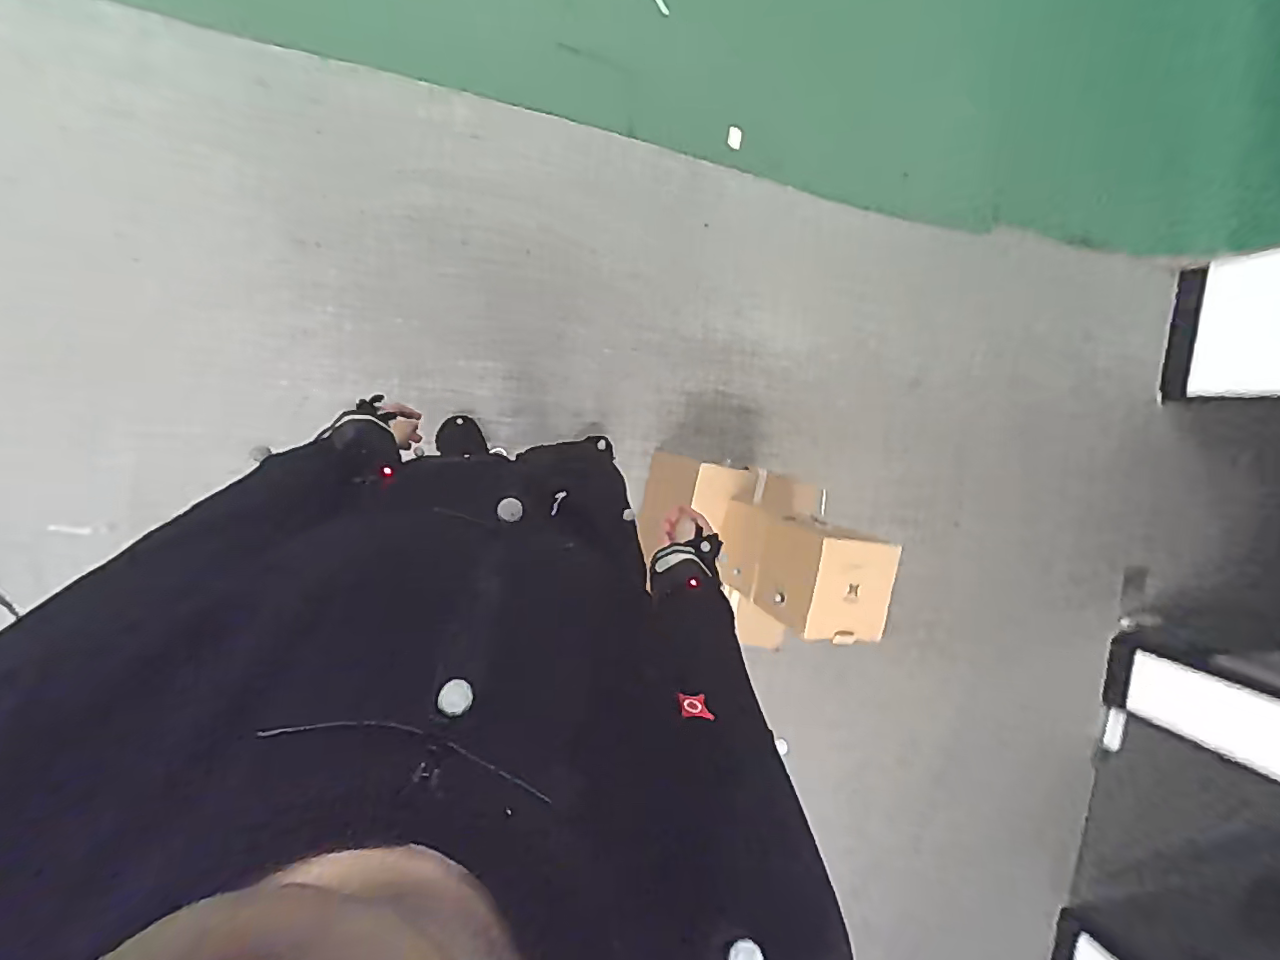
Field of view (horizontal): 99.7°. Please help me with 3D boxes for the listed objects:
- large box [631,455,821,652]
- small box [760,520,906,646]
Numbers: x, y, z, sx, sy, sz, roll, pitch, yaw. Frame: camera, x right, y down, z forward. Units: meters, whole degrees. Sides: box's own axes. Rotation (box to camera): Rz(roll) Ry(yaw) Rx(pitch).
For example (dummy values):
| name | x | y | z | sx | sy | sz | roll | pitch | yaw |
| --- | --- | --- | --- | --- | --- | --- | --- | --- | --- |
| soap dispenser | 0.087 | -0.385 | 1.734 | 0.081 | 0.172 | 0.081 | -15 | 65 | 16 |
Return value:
| name | x | y | z | sx | sy | sz | roll | pitch | yaw |
| --- | --- | --- | --- | --- | --- | --- | --- | --- | --- |
| large box | 0.197 | 0.168 | 1.356 | 0.320 | 0.320 | 0.408 | 11 | 95 | -17 |
| small box | 0.336 | 0.180 | 0.971 | 0.168 | 0.176 | 0.179 | 7 | 95 | -19 |
